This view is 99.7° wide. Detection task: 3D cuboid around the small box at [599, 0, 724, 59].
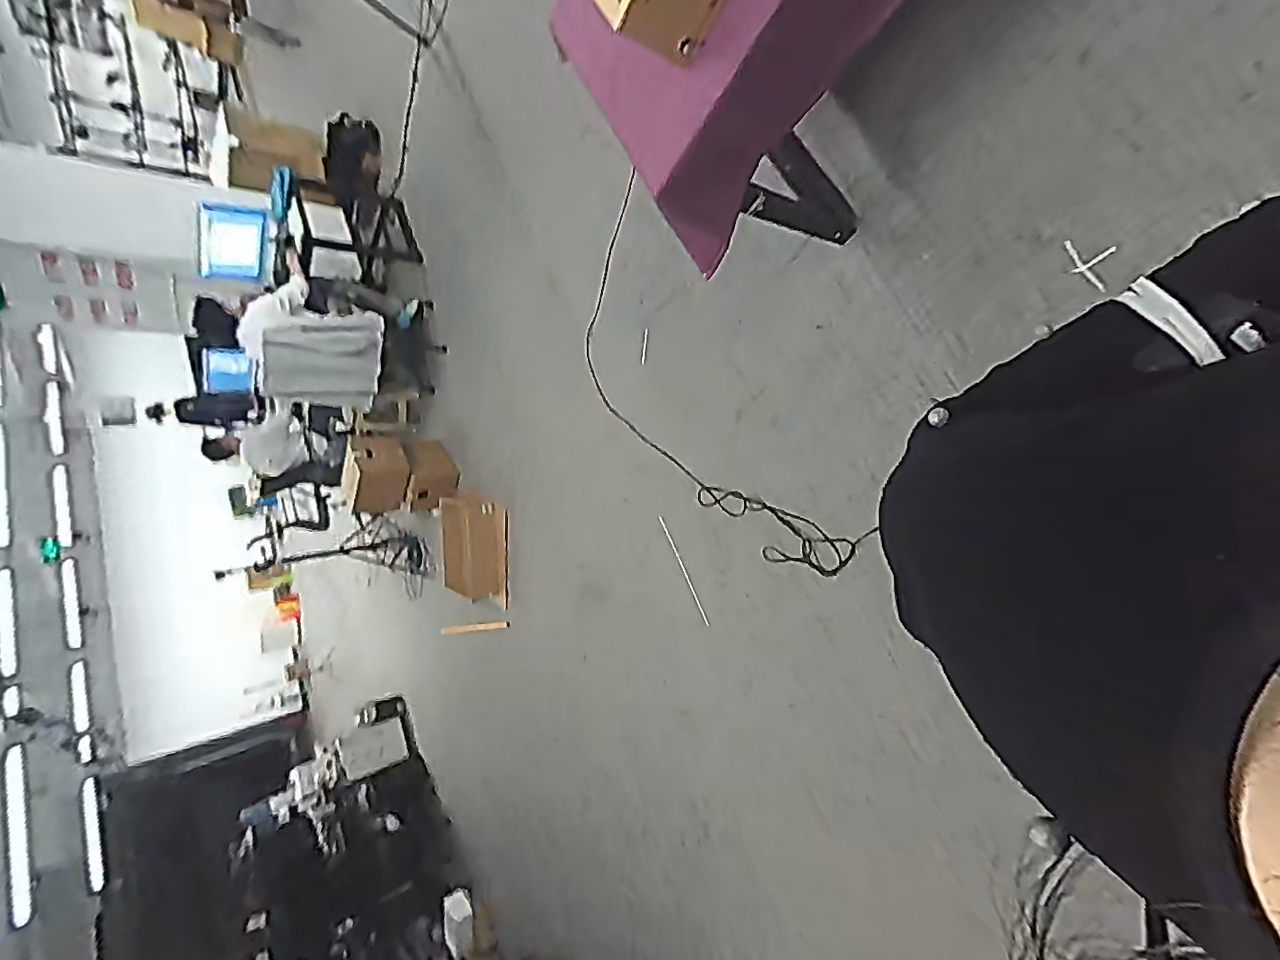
[{"bbox_3d":[0.036,-0.859,0.910,0.168,0.176,0.179,-44,63,43],"label":"small box"}]
